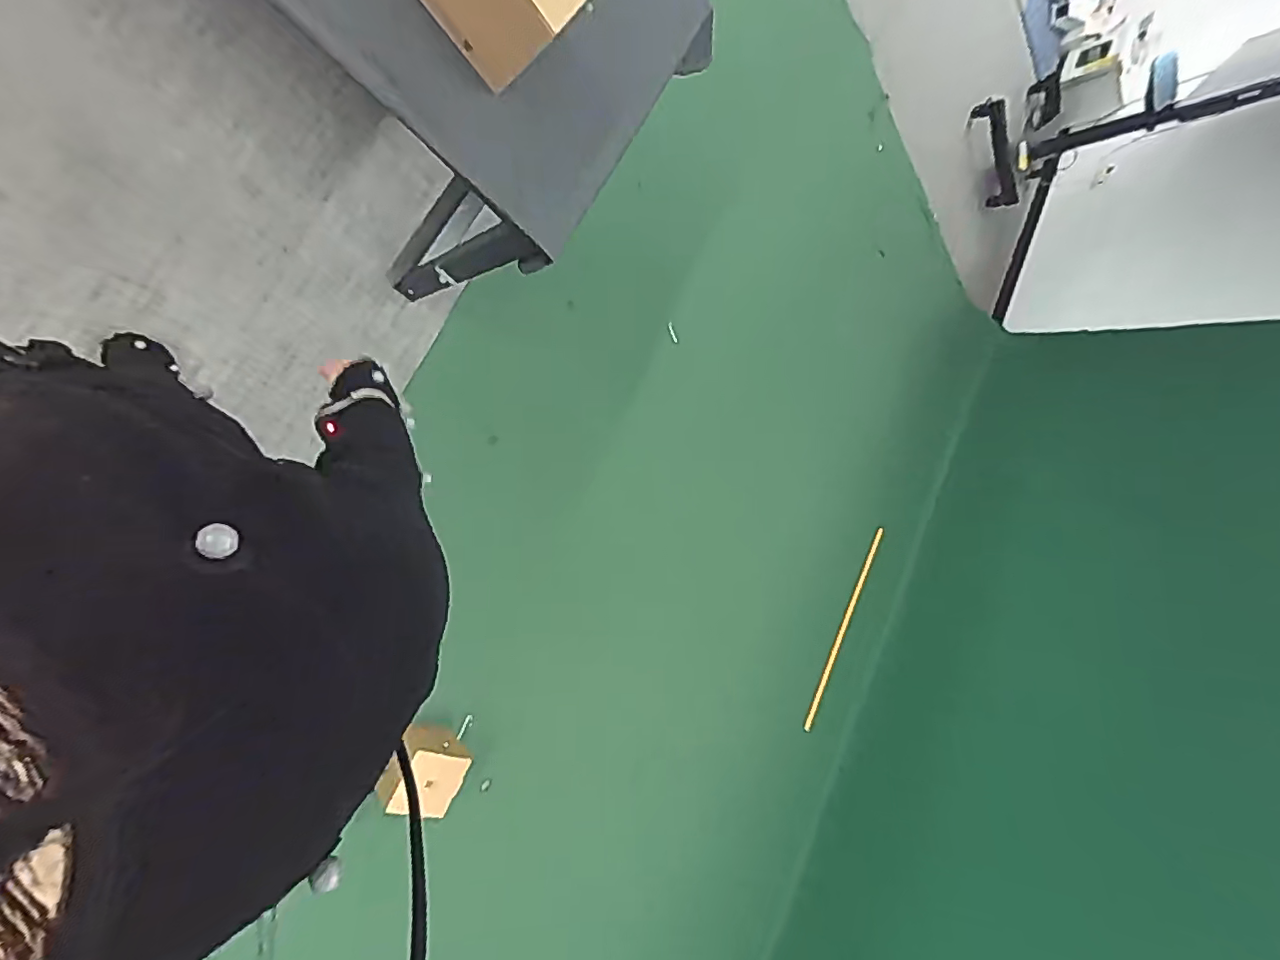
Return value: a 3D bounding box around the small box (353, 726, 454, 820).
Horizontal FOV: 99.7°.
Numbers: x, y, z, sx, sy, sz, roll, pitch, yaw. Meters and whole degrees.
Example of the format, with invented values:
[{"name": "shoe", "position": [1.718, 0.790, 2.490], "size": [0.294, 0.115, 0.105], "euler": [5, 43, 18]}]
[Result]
[{"name": "small box", "position": [-0.660, 0.807, 1.501], "size": [0.179, 0.176, 0.168], "euler": [37, 73, -39]}]
